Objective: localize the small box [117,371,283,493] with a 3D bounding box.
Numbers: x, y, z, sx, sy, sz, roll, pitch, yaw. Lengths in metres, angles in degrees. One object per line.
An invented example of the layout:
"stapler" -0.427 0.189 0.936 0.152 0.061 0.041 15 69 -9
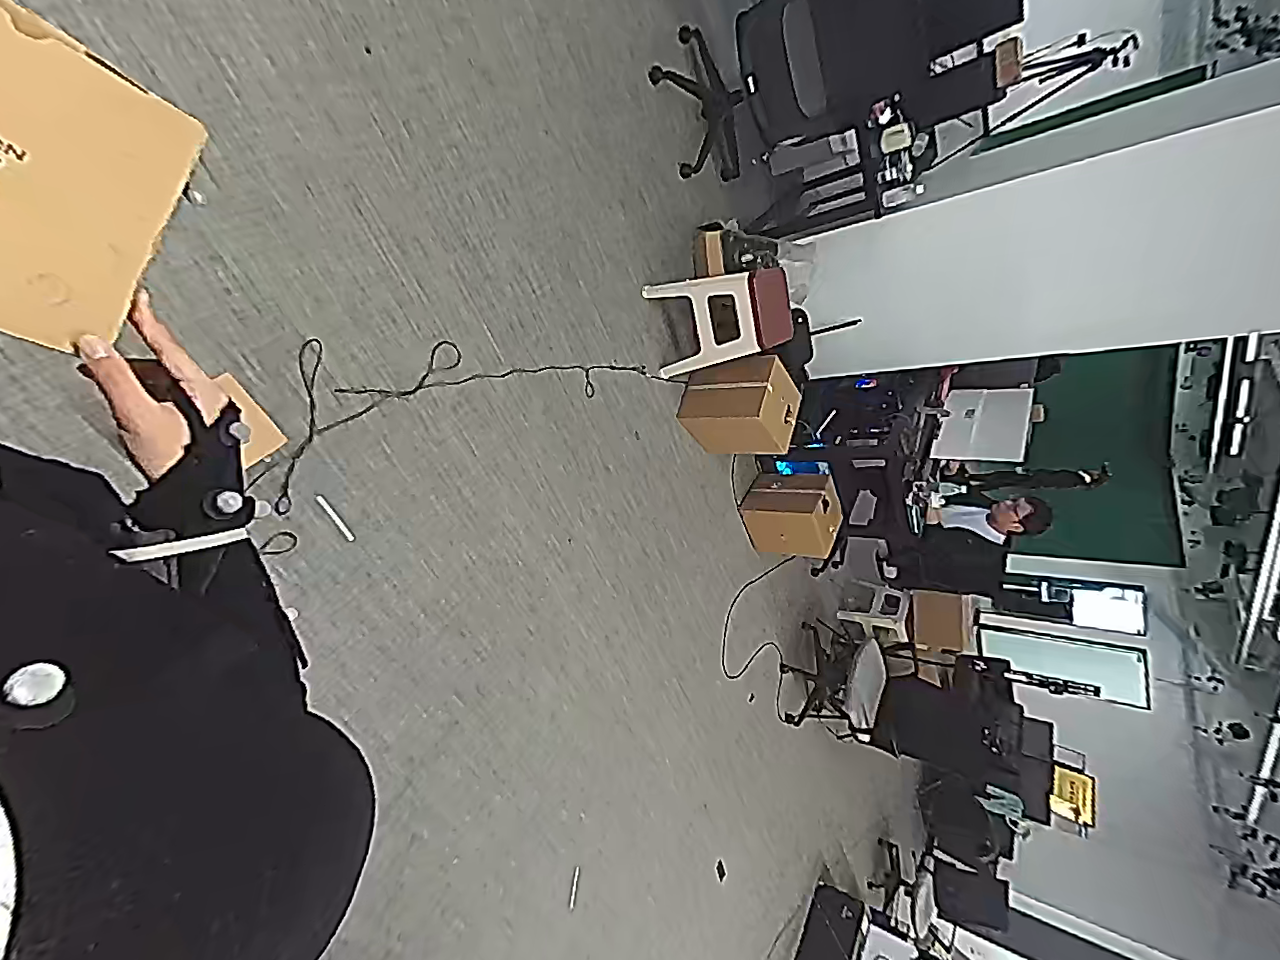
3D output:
"small box" -0.856 -0.092 1.052 0.179 0.176 0.168 -51 127 -37

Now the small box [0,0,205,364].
"small box" -0.418 -0.190 0.342 0.168 0.176 0.179 24 83 -48
